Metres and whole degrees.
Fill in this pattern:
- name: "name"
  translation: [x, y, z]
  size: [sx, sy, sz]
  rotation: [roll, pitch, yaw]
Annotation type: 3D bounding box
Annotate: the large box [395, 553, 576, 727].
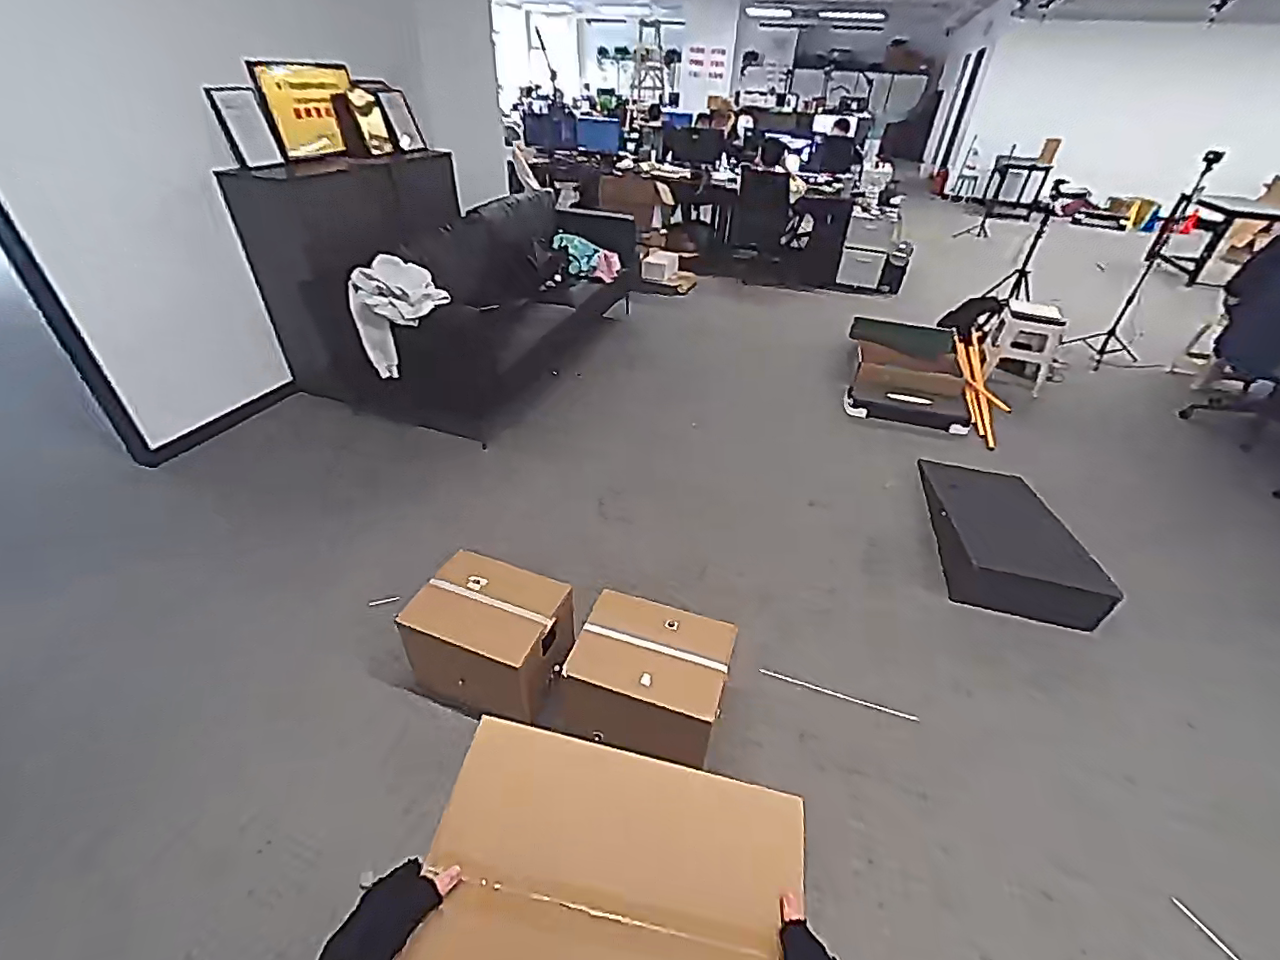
- name: "large box"
  translation: [-0.442, 0.476, 1.637]
  size: [0.408, 0.320, 0.320]
  rotation: [14, 37, 16]
